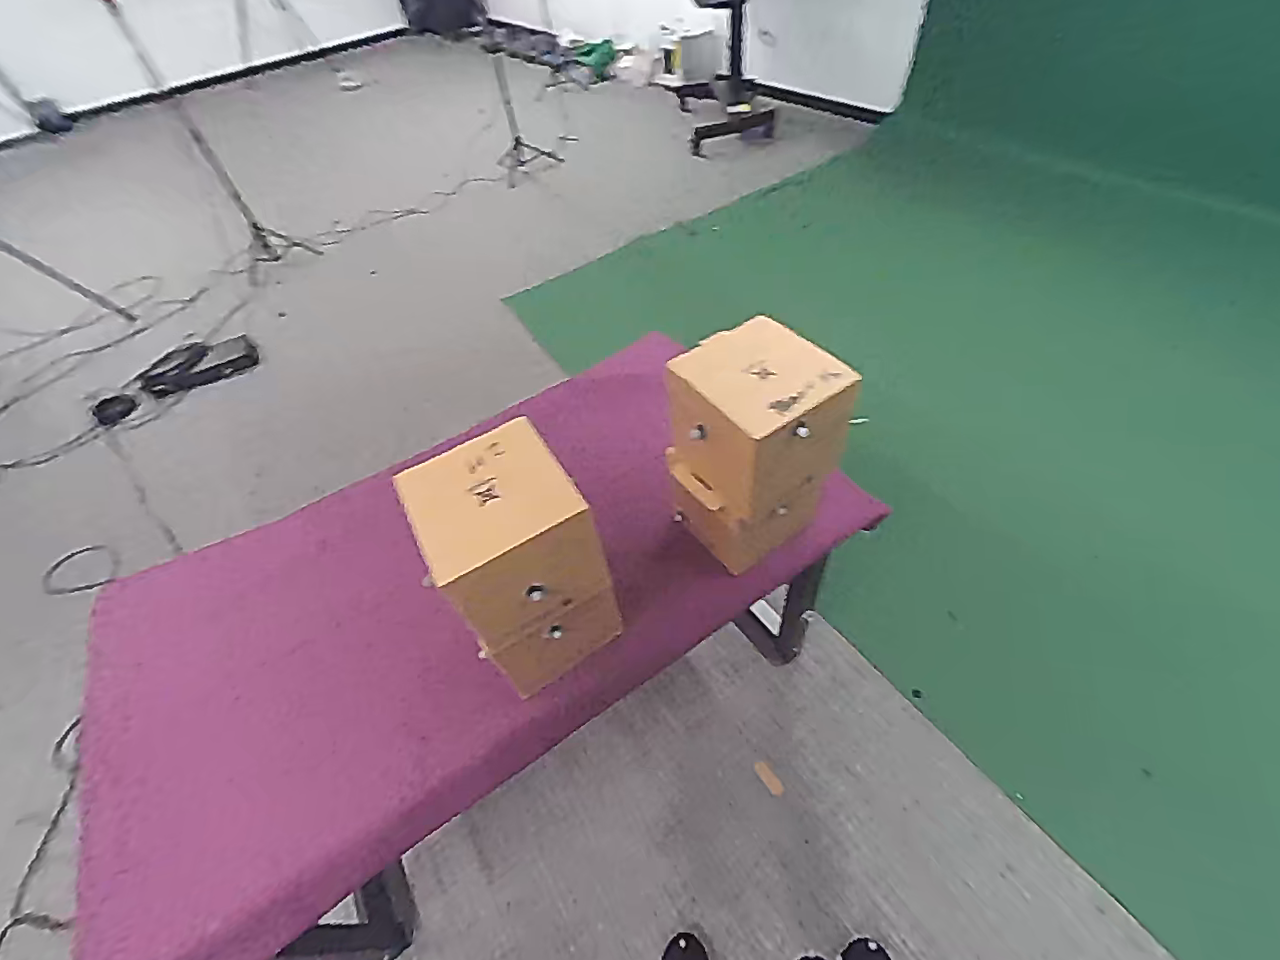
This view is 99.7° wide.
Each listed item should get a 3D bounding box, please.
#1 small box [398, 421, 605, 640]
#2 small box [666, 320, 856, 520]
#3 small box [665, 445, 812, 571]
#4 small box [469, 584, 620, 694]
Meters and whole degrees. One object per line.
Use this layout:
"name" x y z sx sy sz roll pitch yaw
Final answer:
"small box" -0.158 0.067 0.652 0.168 0.176 0.179 -28 52 -15
"small box" 0.153 -0.079 0.729 0.168 0.176 0.179 -31 52 -16
"small box" 0.162 0.014 0.865 0.179 0.176 0.168 -32 54 -18
"small box" -0.148 0.173 0.777 0.179 0.176 0.168 -30 52 -17
